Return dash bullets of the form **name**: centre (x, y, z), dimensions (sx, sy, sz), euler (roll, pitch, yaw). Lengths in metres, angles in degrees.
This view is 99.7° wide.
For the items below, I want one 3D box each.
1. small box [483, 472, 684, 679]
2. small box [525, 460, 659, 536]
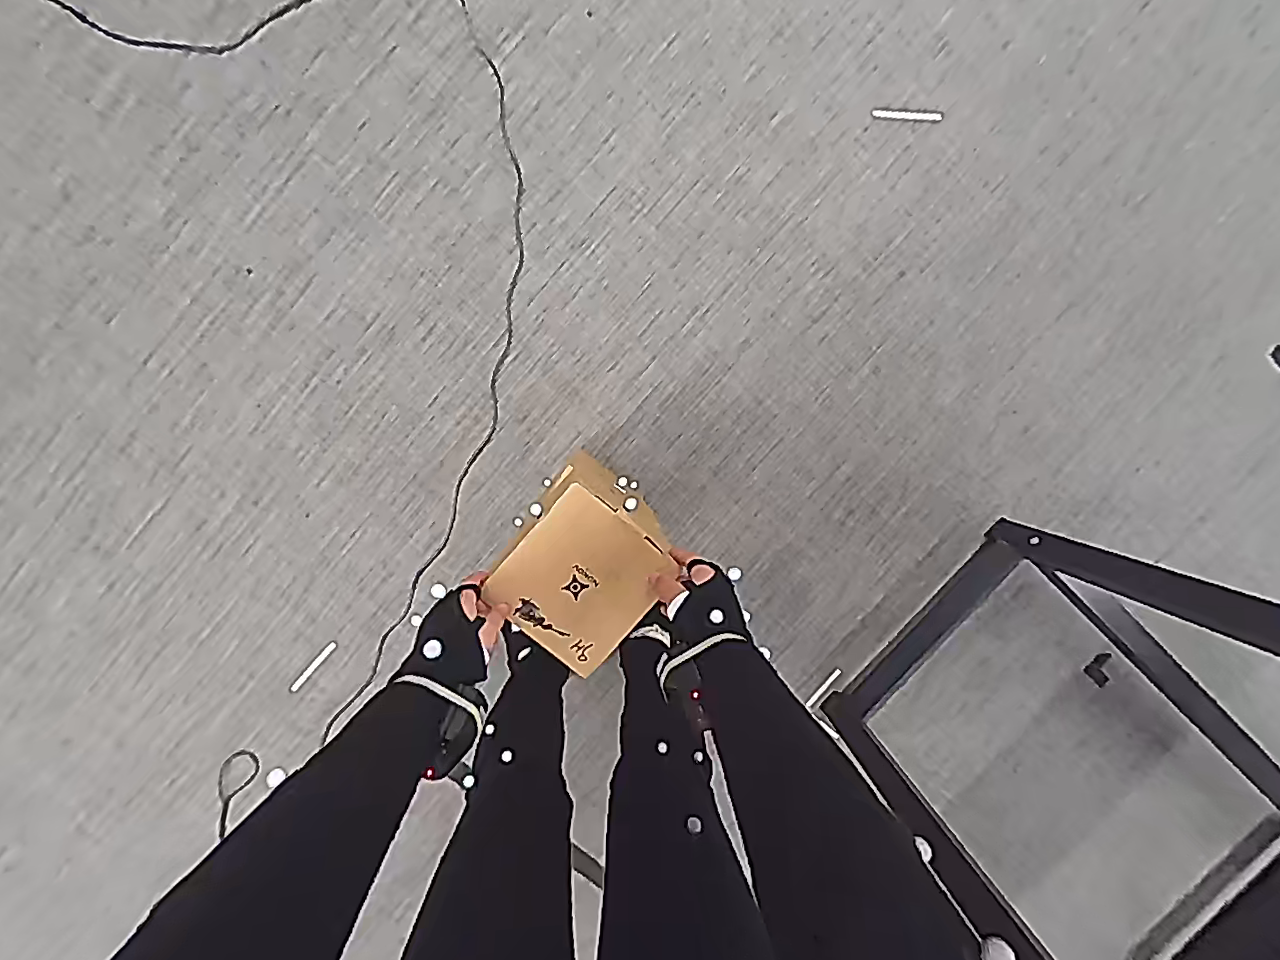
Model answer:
- **small box**: centre (-0.072, 0.107, 0.694), dimensions (0.168, 0.176, 0.179), euler (41, 92, -9)
- **small box**: centre (-0.089, 0.086, 0.867), dimensions (0.168, 0.176, 0.179), euler (34, 93, -8)
